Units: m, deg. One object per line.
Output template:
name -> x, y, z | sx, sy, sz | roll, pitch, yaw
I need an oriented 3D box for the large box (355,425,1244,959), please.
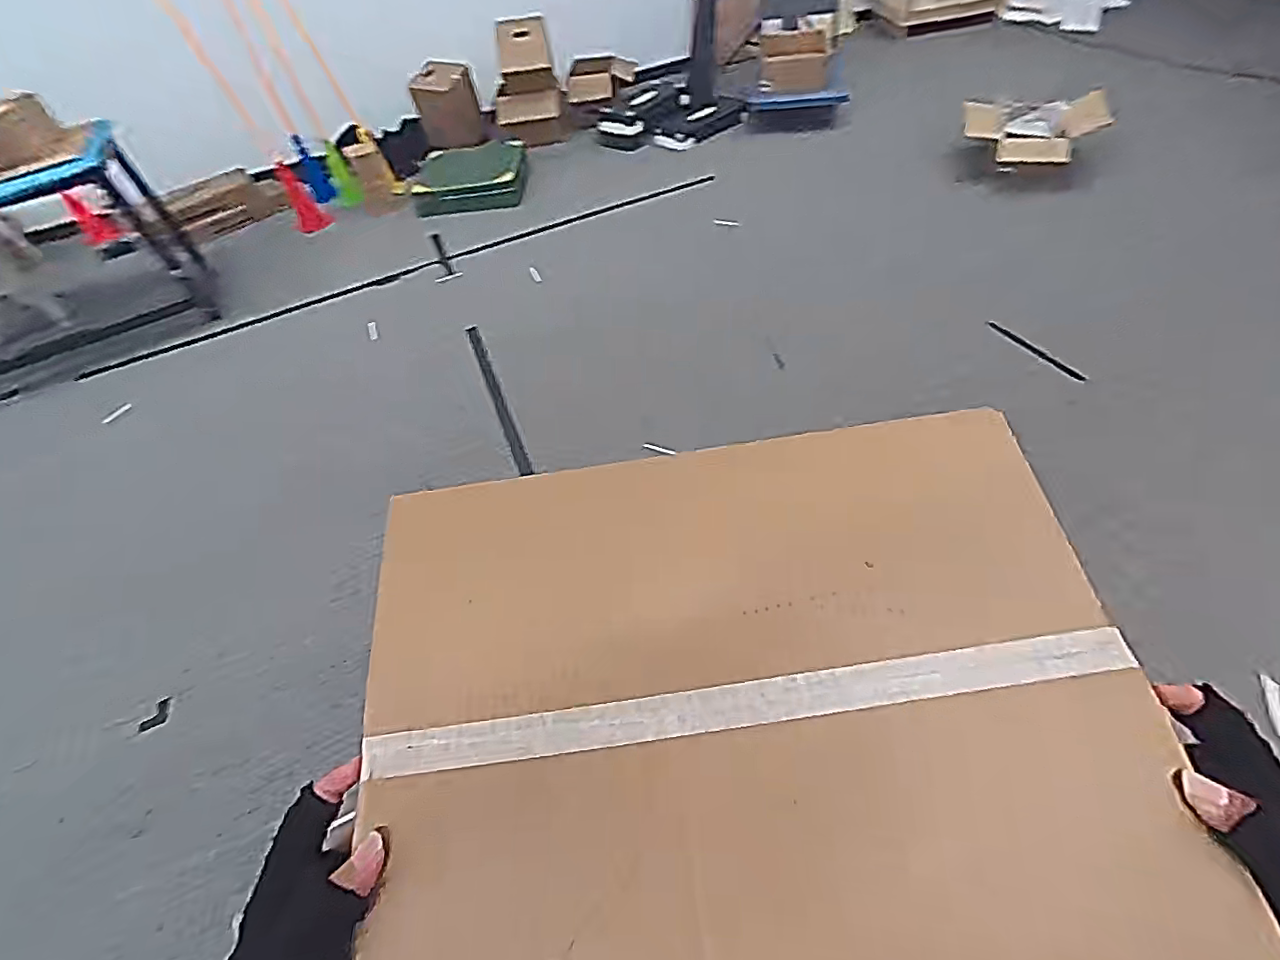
large box -> 0.062, 0.197, 0.426 | 0.408, 0.320, 0.320 | -10, 61, 1
